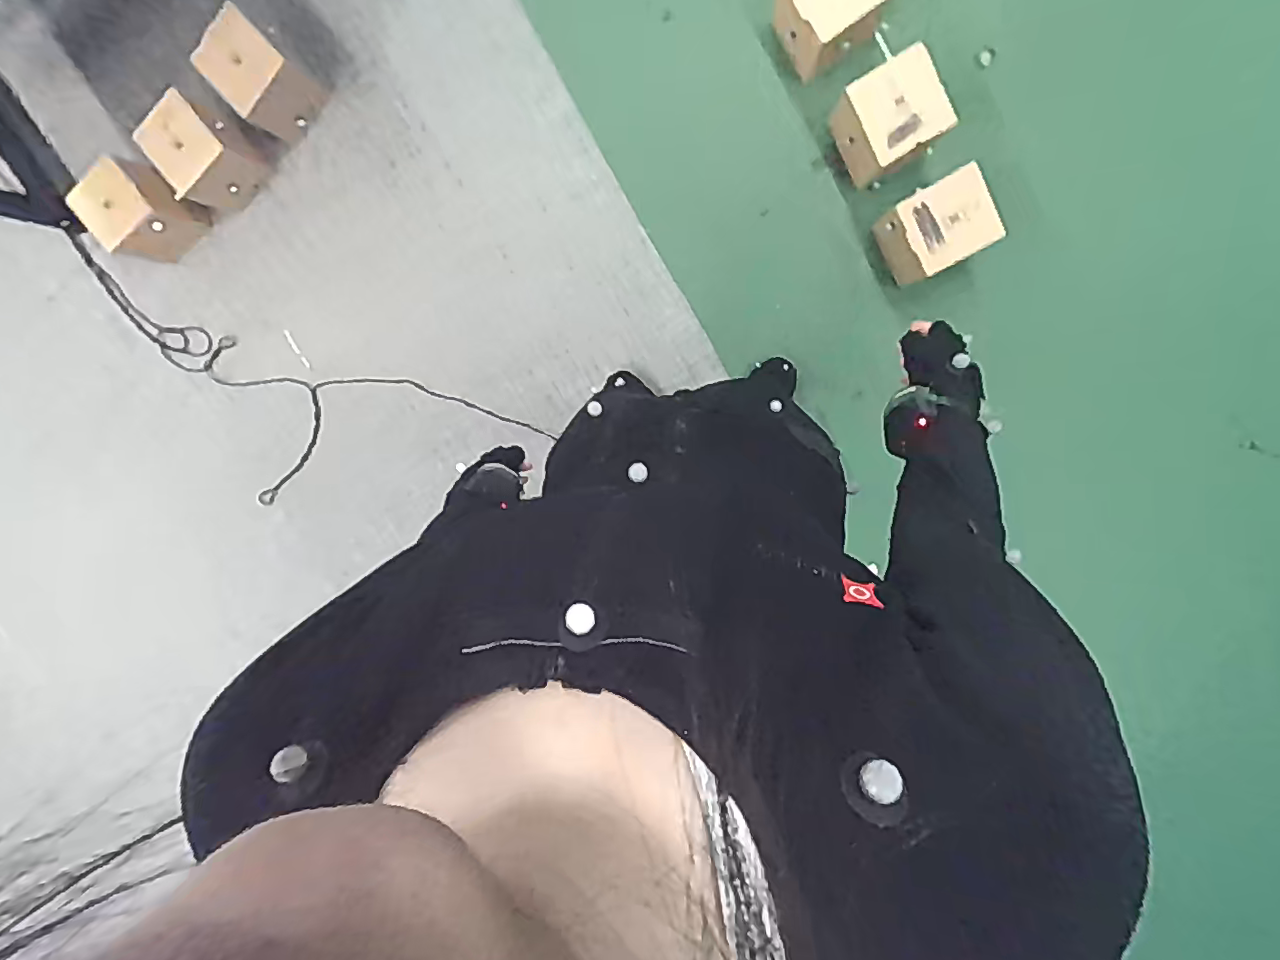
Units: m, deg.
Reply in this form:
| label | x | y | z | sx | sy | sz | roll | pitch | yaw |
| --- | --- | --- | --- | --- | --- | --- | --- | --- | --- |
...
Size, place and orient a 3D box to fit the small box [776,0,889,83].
| label | x | y | z | sx | sy | sz | roll | pitch | yaw |
| --- | --- | --- | --- | --- | --- | --- | --- | --- | --- |
| small box | 0.400 | -0.999 | 1.142 | 0.179 | 0.176 | 0.168 | -31 | 97 | 13 |

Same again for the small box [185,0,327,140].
| label | x | y | z | sx | sy | sz | roll | pitch | yaw |
| --- | --- | --- | --- | --- | --- | --- | --- | --- | --- |
| small box | -0.904 | -0.963 | 1.288 | 0.168 | 0.176 | 0.179 | -41 | 95 | 13 |
